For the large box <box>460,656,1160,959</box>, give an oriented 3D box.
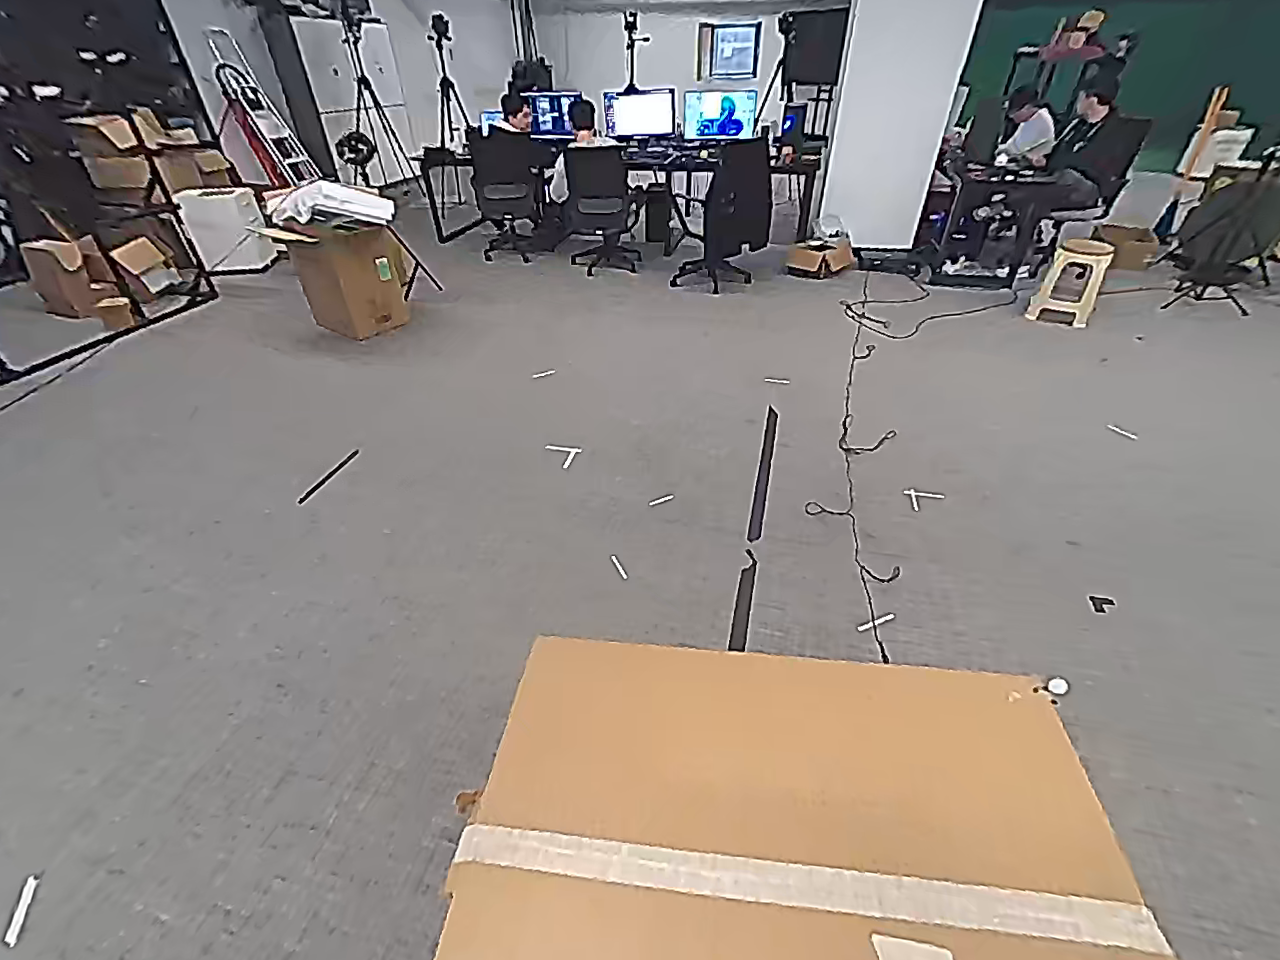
[{"bbox_3d":[0.101,0.370,0.427,0.408,0.320,0.320,2,41,7],"label":"large box"}]
